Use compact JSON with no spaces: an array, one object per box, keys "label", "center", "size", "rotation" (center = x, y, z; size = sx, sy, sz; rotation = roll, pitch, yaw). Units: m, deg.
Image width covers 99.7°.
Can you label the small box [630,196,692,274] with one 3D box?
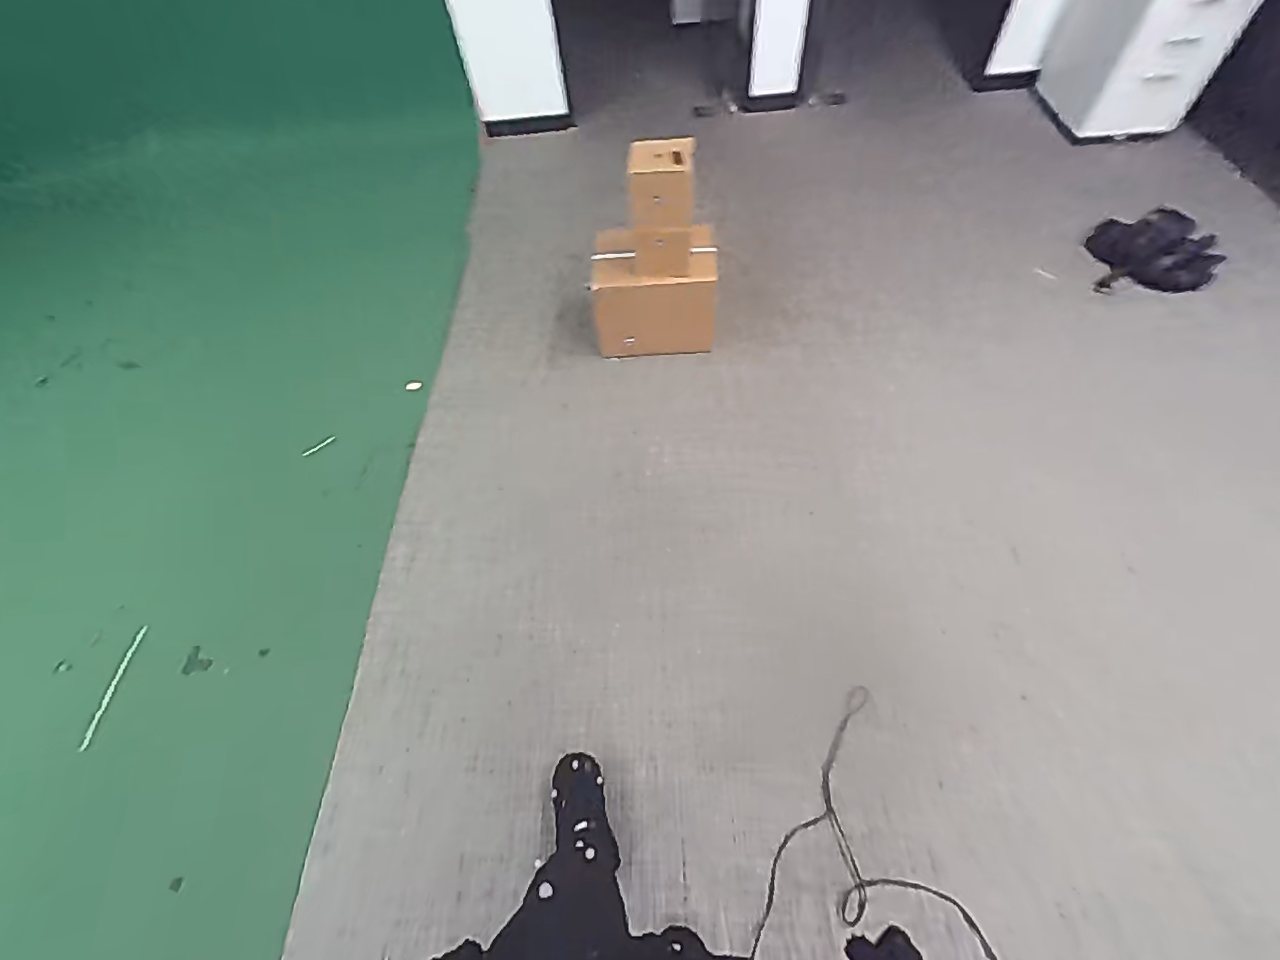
[{"label":"small box","center":[0.068,-0.763,1.685],"size":[0.179,0.176,0.168],"rotation":[3,60,5]}]

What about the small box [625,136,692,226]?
[{"label":"small box","center":[0.058,-0.851,1.547],"size":[0.179,0.176,0.168],"rotation":[1,59,7]}]
